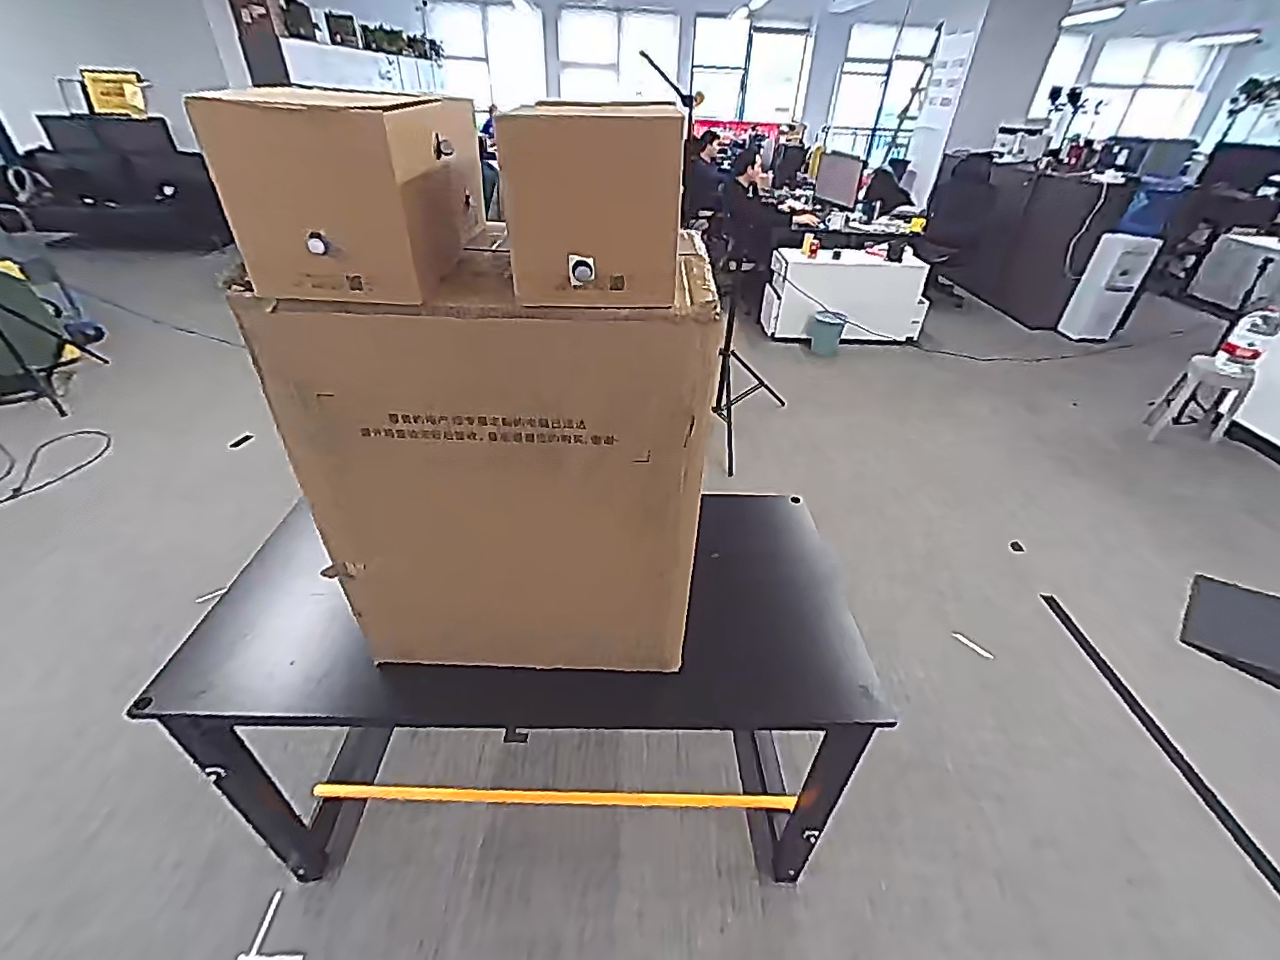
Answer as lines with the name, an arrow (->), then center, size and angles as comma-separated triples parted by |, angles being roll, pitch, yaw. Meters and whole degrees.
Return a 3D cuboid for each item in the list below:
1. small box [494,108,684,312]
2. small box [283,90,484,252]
small box -> -0.047, -0.288, 0.573 | 0.168, 0.176, 0.179 | -2, 37, -2
small box -> -0.321, -0.410, 0.722 | 0.179, 0.176, 0.168 | 3, 35, -1
